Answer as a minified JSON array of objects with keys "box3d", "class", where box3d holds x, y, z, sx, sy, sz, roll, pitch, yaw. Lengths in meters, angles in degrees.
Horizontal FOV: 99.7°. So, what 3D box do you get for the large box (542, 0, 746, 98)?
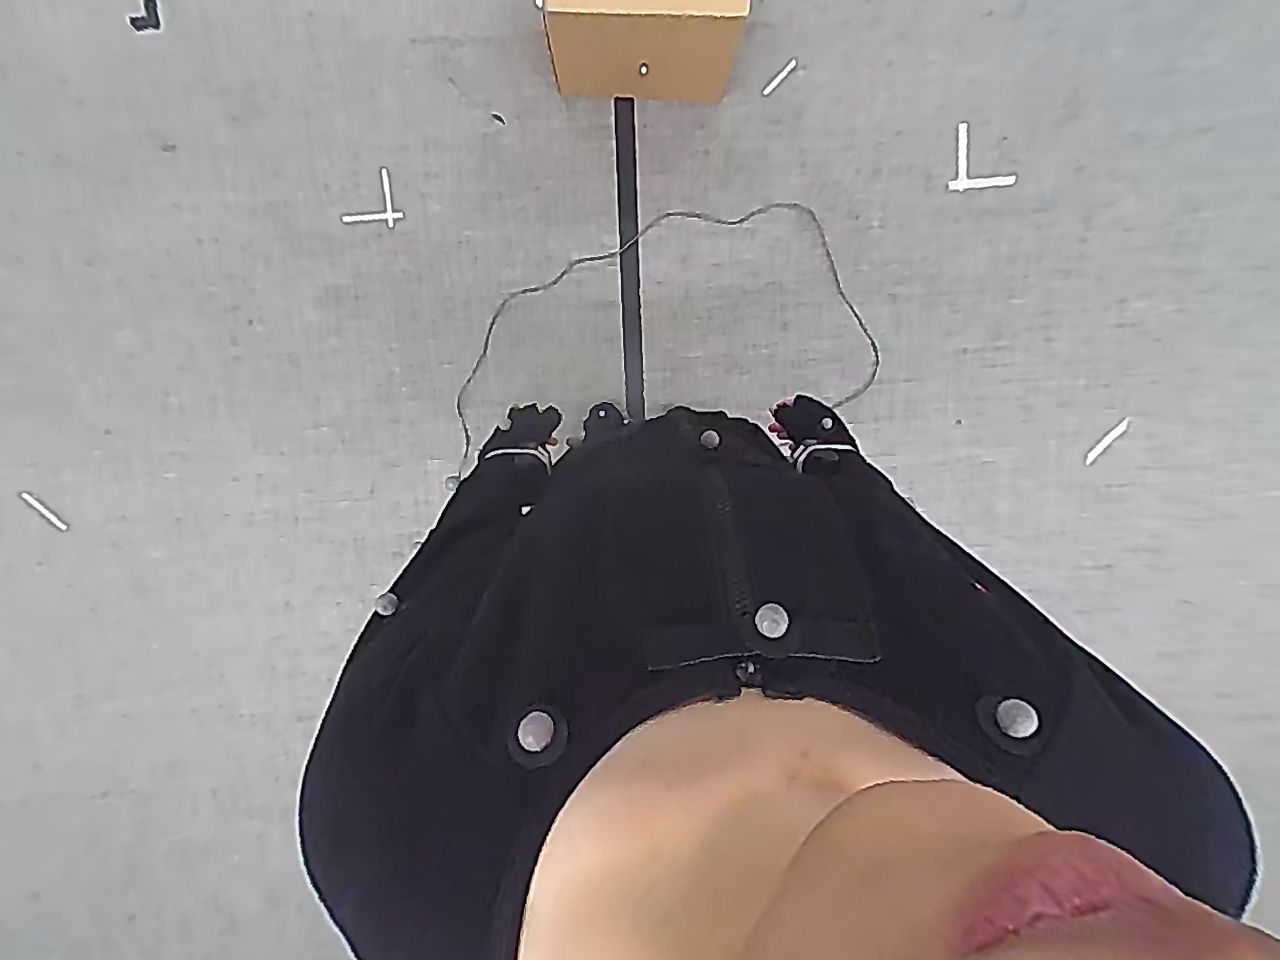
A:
[{"box3d":[0.007,-1.078,1.178,0.408,0.320,0.320,0,99,-1],"class":"large box"}]
